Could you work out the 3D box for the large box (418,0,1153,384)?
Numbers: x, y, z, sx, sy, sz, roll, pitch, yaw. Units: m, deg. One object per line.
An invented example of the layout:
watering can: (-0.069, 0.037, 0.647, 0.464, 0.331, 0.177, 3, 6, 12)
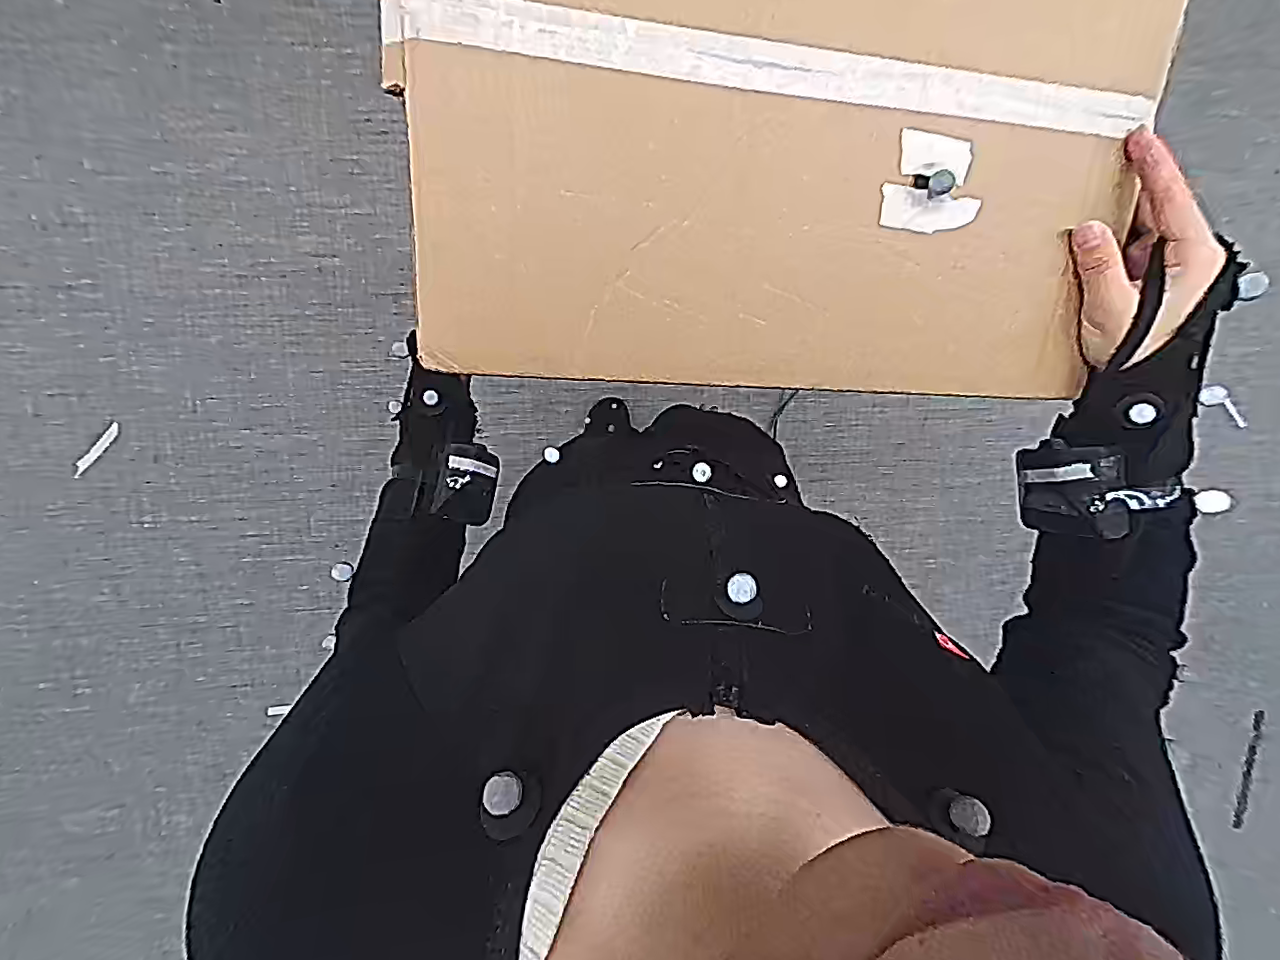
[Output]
large box: (0.062, -0.248, 0.428, 0.408, 0.320, 0.320, 0, 106, -11)
